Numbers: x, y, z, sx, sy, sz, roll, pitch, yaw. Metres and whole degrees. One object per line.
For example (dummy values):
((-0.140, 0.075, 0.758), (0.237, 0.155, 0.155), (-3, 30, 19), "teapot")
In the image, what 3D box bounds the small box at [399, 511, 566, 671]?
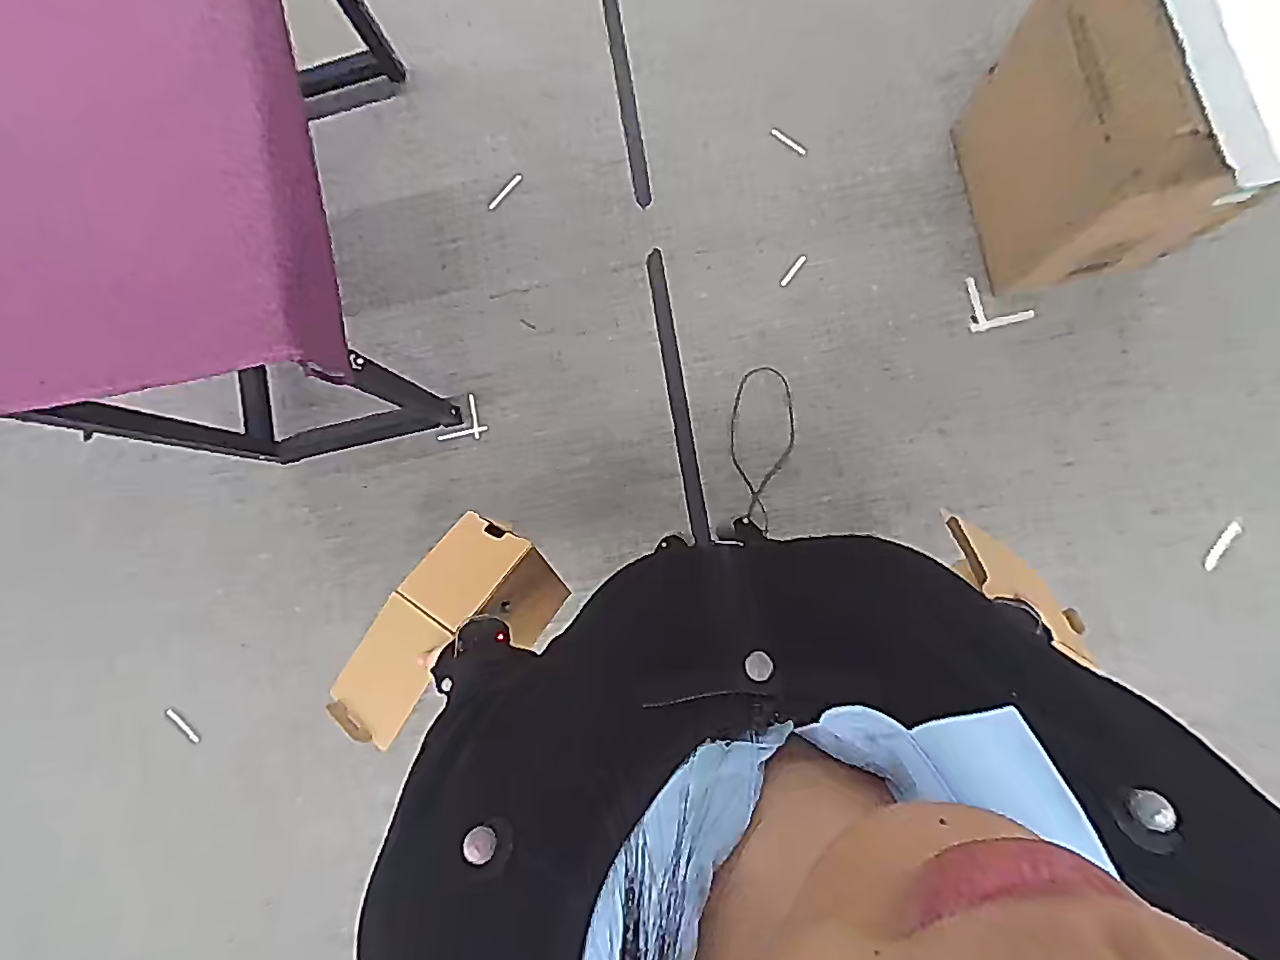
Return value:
((-0.252, 0.188, 0.908), (0.168, 0.176, 0.179), (21, 60, 33), "small box")
